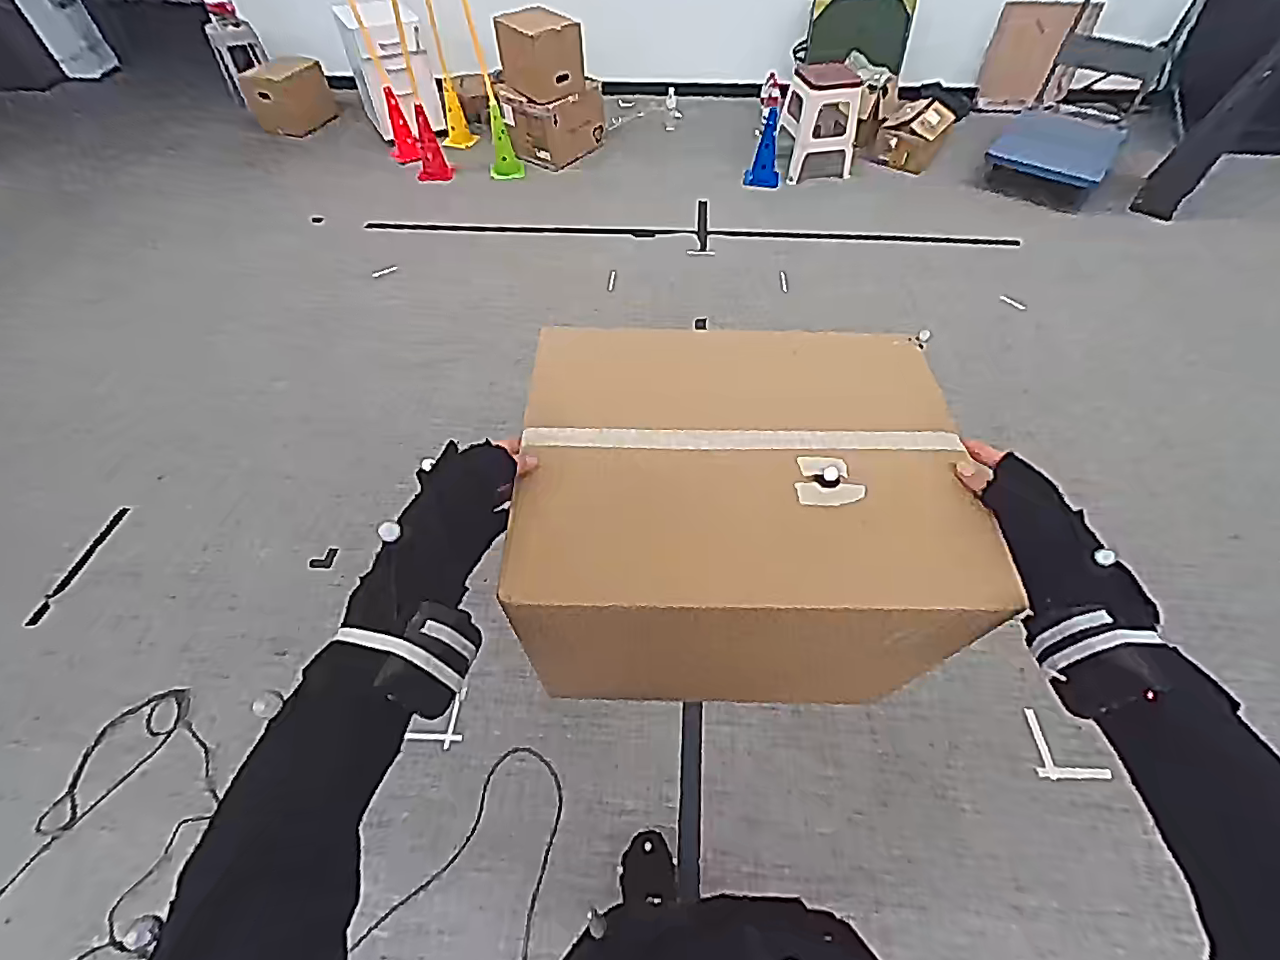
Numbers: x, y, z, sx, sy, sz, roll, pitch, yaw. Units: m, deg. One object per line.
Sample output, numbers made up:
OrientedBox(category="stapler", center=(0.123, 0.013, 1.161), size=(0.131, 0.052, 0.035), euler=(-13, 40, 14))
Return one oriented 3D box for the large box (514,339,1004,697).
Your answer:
OrientedBox(category="large box", center=(0.090, 0.055, 0.633), size=(0.408, 0.320, 0.320), euler=(1, 56, -1))
